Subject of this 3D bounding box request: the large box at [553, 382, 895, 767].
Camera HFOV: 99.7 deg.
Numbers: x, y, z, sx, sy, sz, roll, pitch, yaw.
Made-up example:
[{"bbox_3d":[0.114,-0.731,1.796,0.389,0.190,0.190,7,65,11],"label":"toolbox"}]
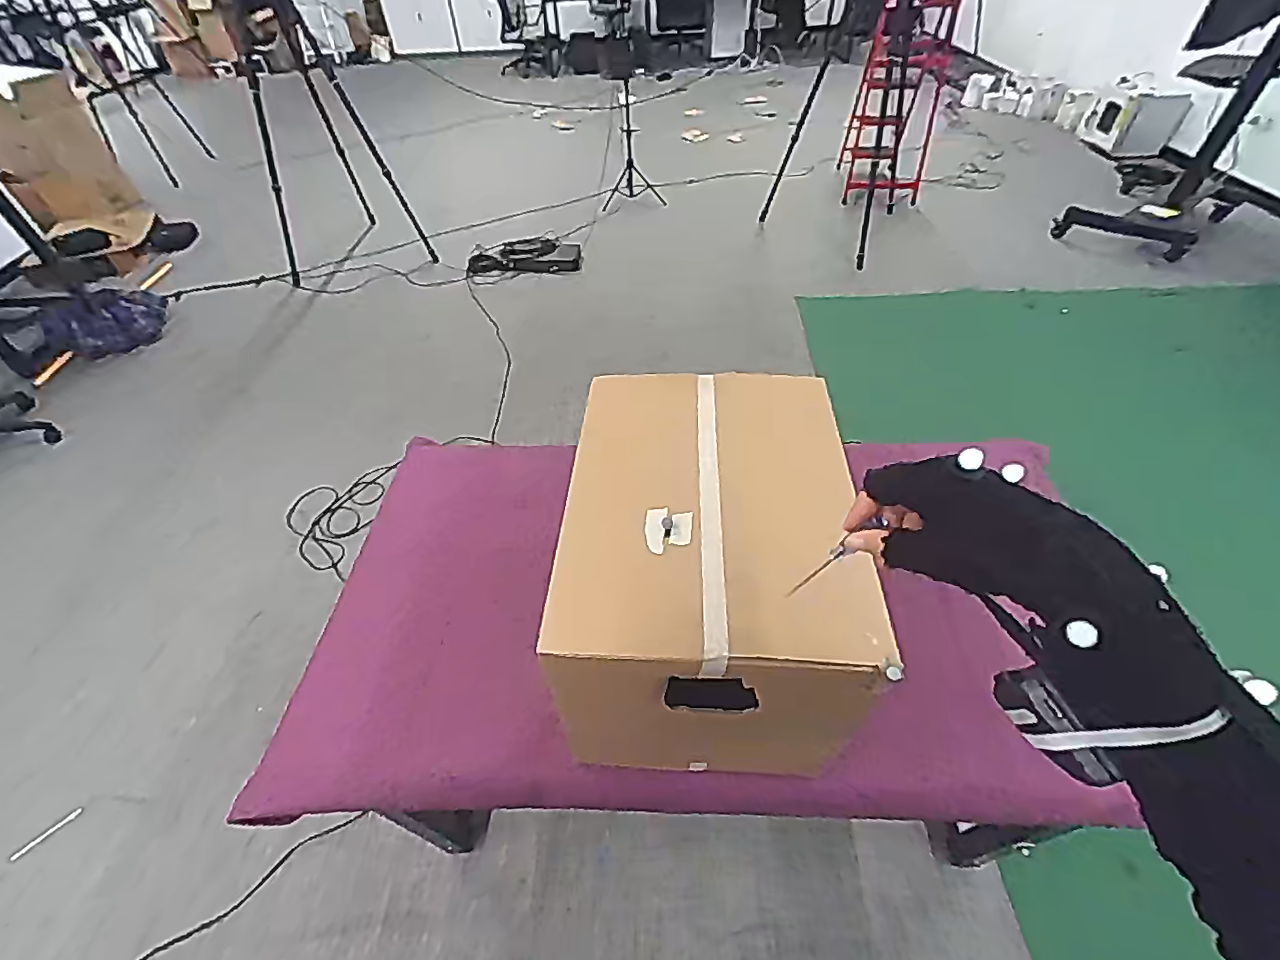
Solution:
[{"bbox_3d":[0.085,0.116,0.721,0.320,0.320,0.408,1,48,4],"label":"large box"}]
